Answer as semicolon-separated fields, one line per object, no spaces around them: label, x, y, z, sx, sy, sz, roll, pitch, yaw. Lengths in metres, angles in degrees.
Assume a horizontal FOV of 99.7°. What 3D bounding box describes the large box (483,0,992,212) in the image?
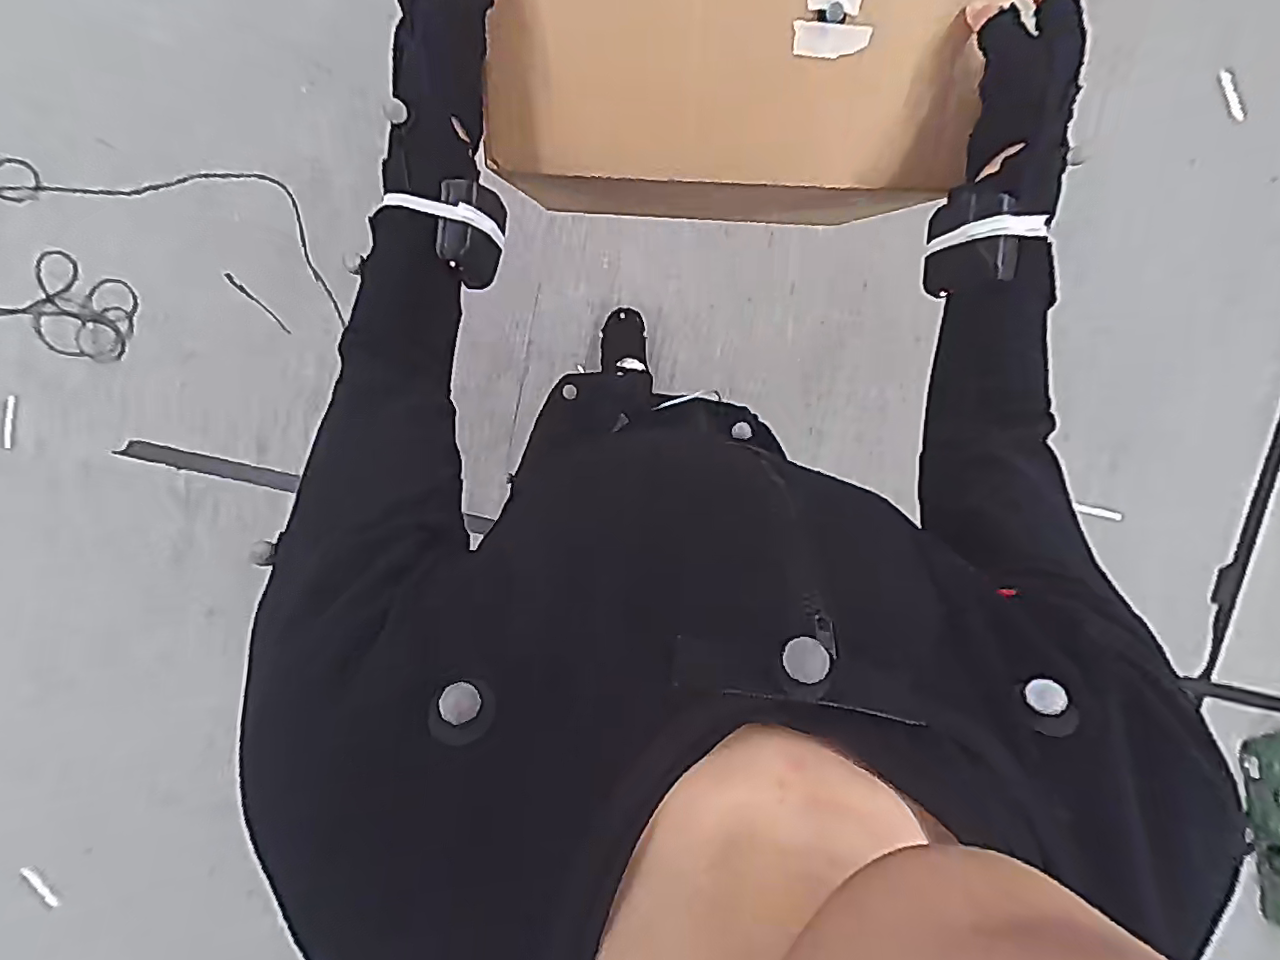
large box;0.073;-0.461;0.544;0.408;0.320;0.320;2;111;-2
